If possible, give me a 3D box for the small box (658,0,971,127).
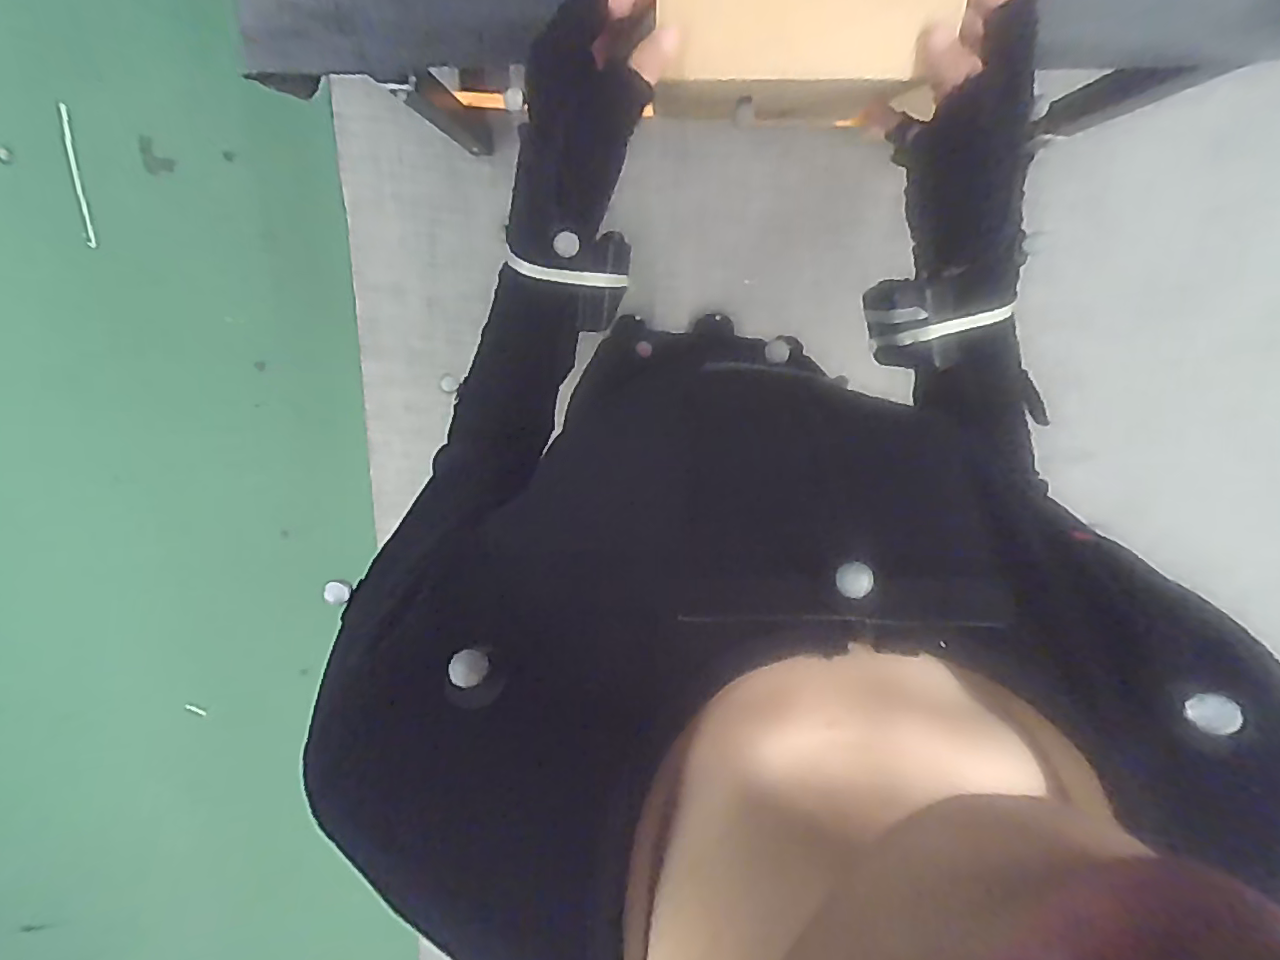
[{"bbox_3d":[0.097,-0.334,0.337,0.168,0.176,0.179,1,114,1],"label":"small box"}]
